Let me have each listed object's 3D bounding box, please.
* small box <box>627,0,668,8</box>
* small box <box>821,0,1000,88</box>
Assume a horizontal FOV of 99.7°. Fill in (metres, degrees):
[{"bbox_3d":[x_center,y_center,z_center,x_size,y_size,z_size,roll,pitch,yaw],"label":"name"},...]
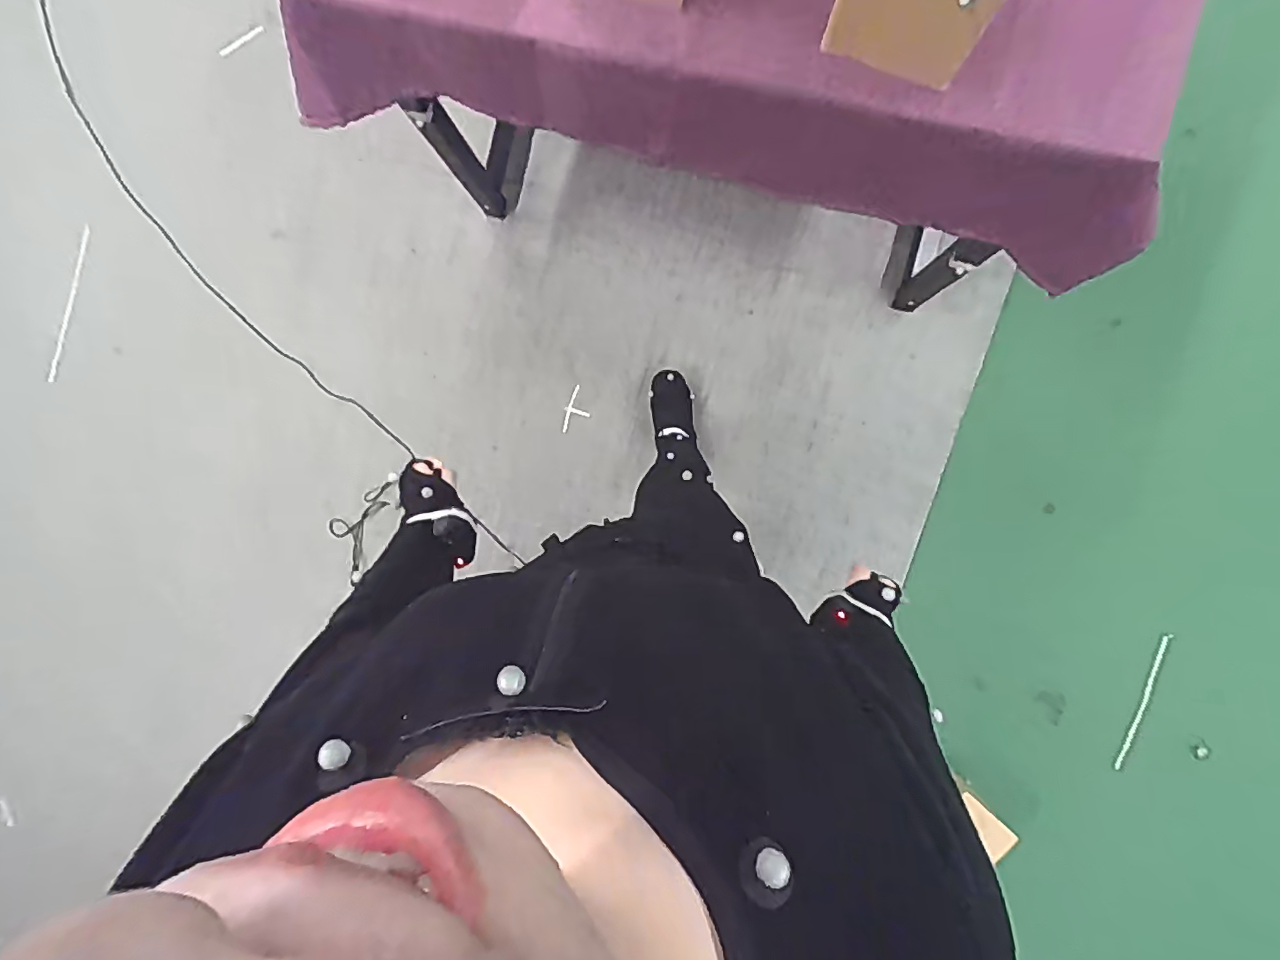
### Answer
[{"bbox_3d":[-0.011,-0.725,0.646,0.179,0.176,0.168,18,92,3],"label":"small box"},{"bbox_3d":[0.334,-0.605,0.625,0.179,0.176,0.168,22,93,3],"label":"small box"}]
